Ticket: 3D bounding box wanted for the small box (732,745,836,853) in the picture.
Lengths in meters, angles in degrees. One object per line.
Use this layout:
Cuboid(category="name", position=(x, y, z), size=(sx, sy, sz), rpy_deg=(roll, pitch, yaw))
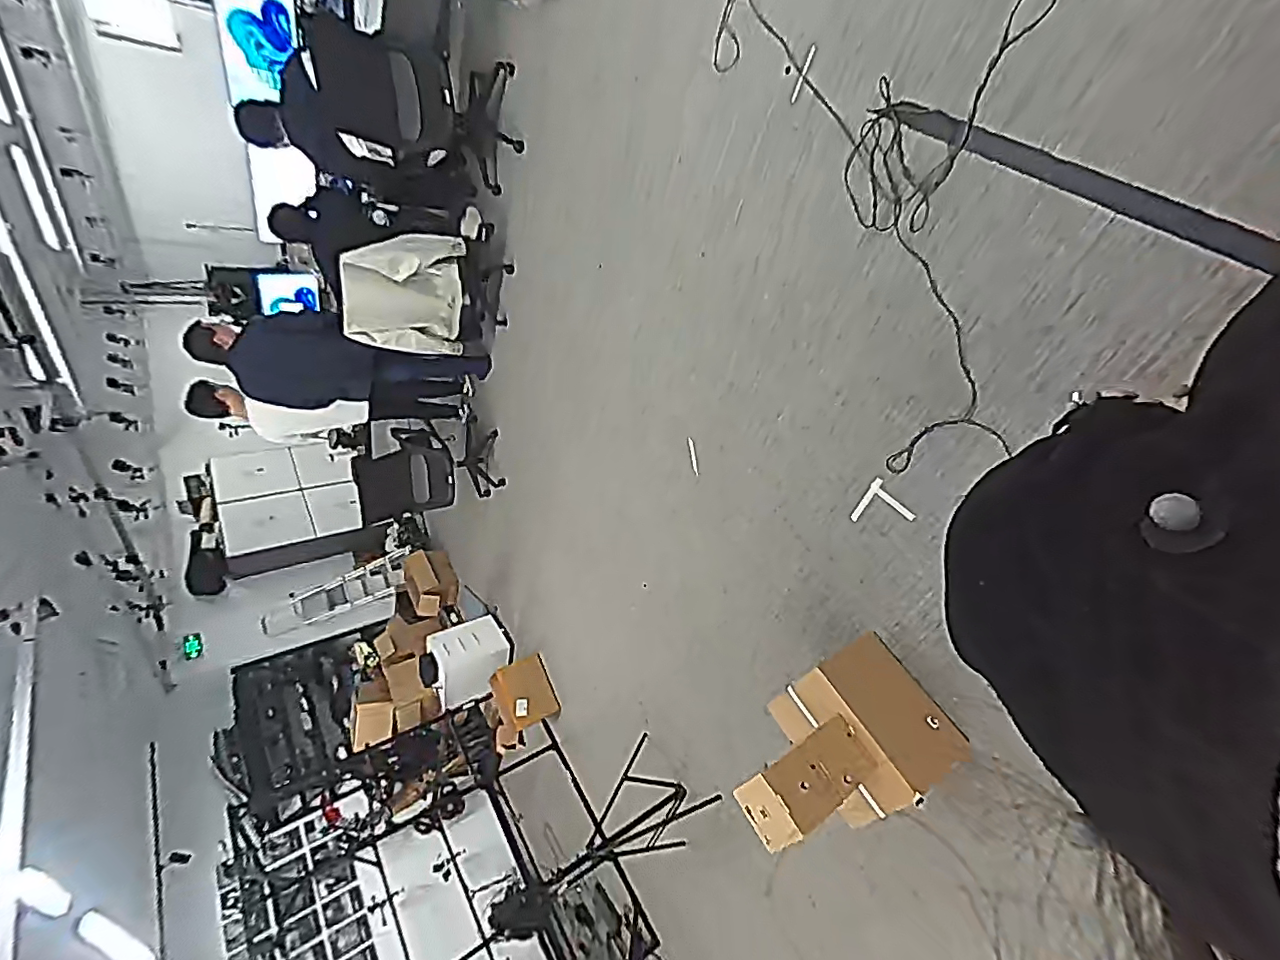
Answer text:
Cuboid(category="small box", position=(0.383, 0.834, 1.424), size=(0.168, 0.176, 0.179), rpy_deg=(54, 138, 28))
